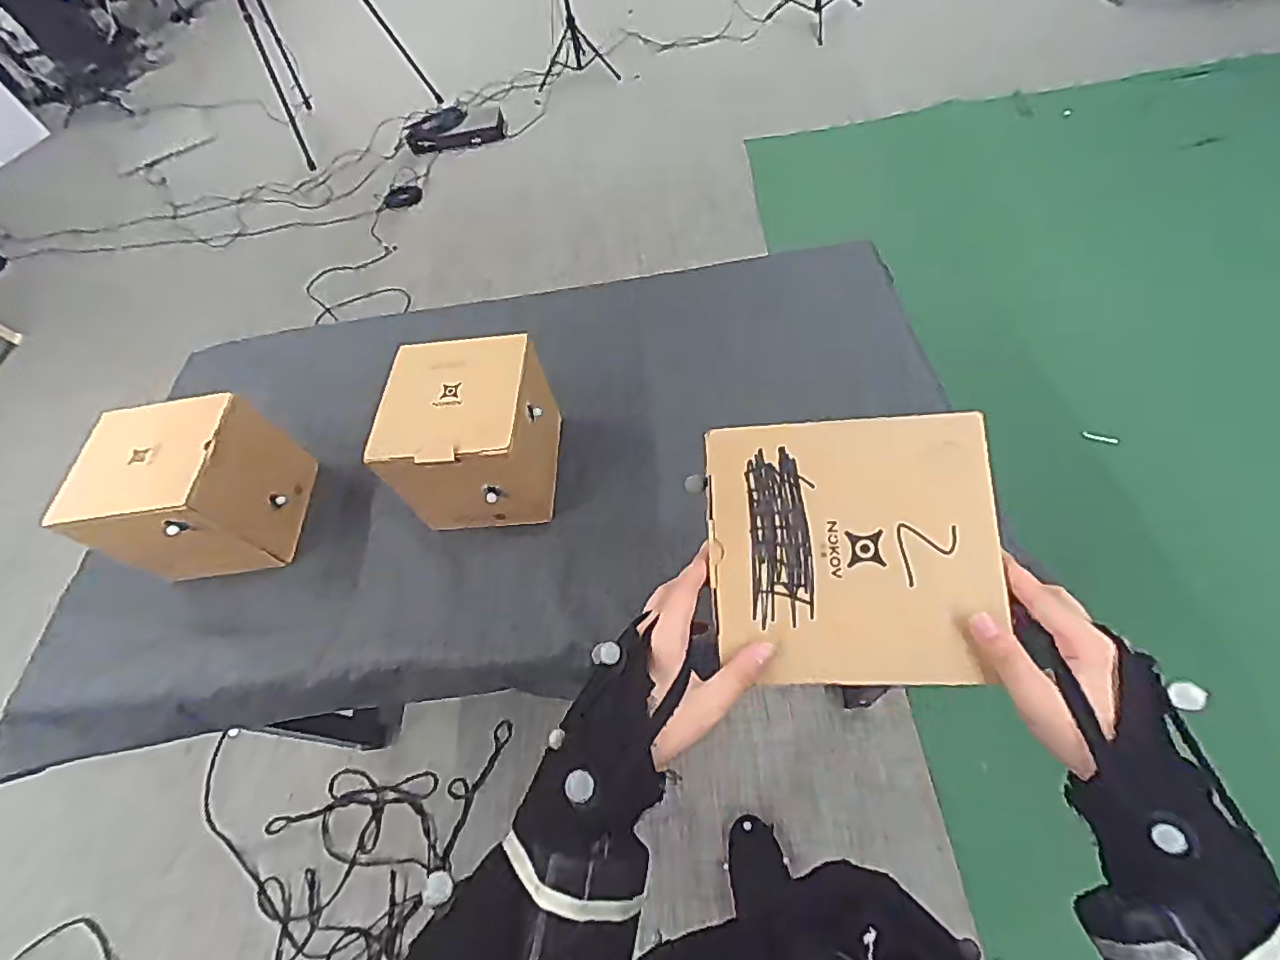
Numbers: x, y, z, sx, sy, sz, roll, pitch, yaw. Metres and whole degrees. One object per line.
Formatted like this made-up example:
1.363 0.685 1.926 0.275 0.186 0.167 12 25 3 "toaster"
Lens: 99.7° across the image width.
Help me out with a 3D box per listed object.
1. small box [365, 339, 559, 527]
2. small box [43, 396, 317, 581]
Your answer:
-0.205 -0.049 0.681 0.168 0.176 0.179 -4 57 6 "small box"
-0.566 0.019 0.697 0.179 0.176 0.168 -8 57 3 "small box"
